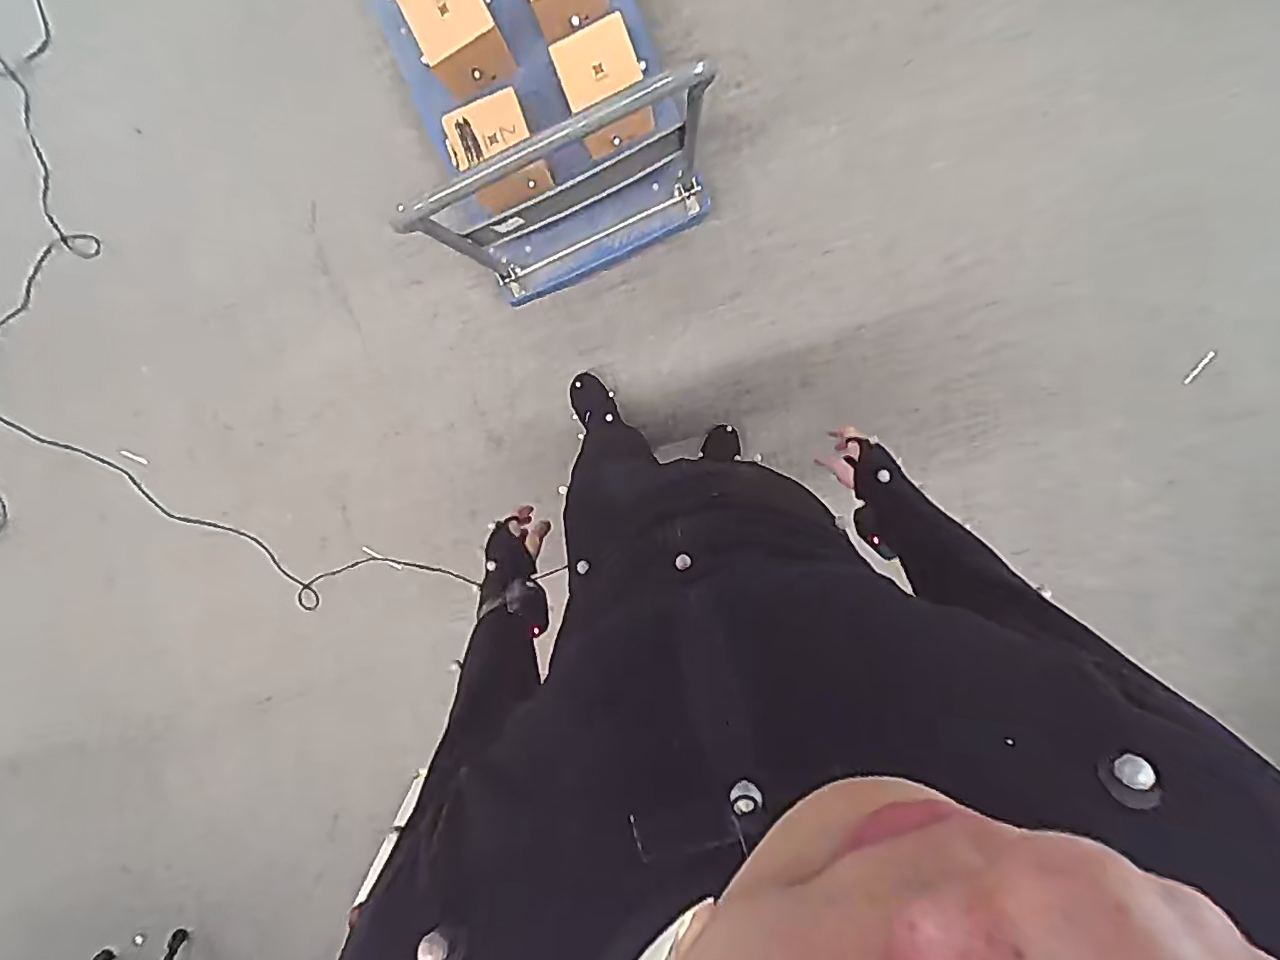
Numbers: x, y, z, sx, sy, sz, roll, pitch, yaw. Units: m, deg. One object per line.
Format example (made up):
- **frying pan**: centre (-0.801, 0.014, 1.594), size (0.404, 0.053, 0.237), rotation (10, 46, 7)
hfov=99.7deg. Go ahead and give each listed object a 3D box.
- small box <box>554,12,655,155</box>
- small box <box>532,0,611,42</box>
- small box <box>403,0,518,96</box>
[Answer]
- **small box**: centre (-0.073, -0.886, 1.228), size (0.168, 0.176, 0.179), rotation (-21, 98, 8)
- **small box**: centre (-0.179, -1.132, 1.191), size (0.168, 0.176, 0.179), rotation (-25, 98, 10)
- **small box**: centre (-0.402, -1.024, 1.232), size (0.168, 0.176, 0.179), rotation (-26, 97, 8)
